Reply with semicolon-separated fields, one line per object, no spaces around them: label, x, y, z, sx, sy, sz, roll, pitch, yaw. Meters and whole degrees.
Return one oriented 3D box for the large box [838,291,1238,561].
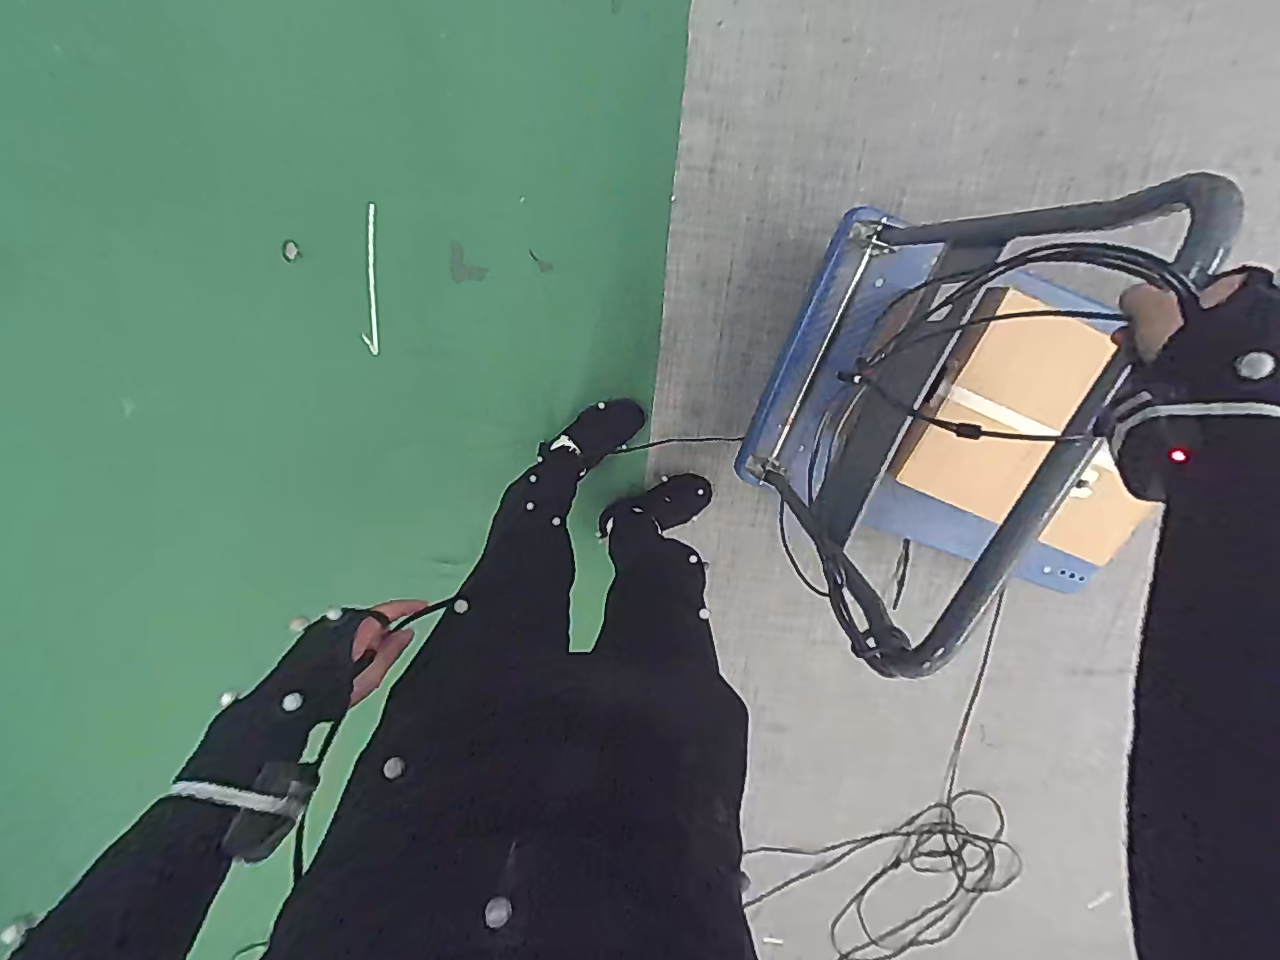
large box;0.644;-0.113;0.958;0.408;0.320;0.320;21;108;-8
